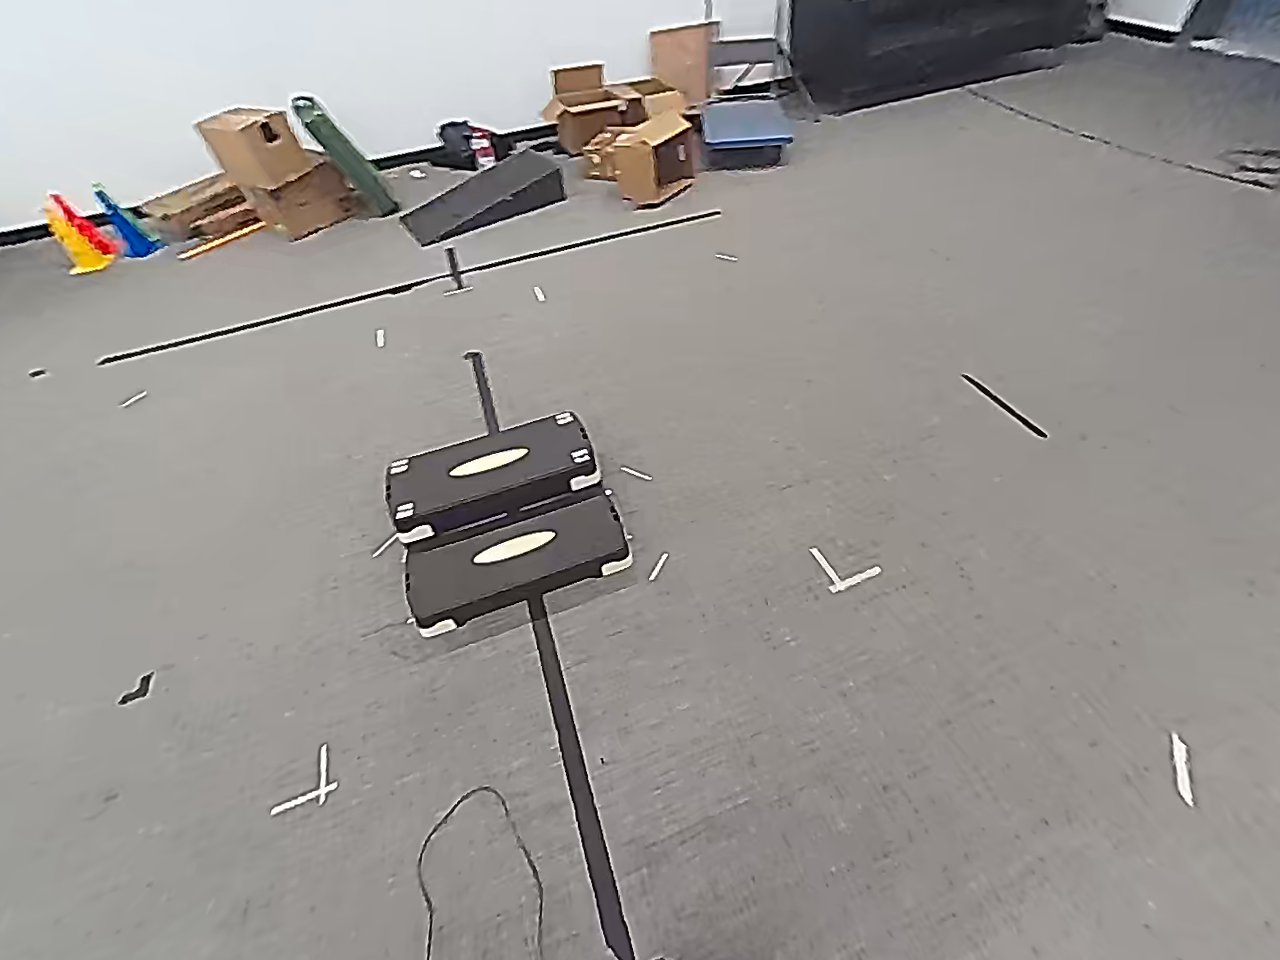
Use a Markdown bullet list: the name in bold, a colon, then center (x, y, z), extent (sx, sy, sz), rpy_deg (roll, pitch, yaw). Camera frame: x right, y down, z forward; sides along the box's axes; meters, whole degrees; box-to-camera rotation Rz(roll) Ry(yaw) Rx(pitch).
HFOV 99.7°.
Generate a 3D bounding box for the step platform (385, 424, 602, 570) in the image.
- **step platform**: center (-0.481, 0.045, 1.811), extent (0.684, 0.204, 0.286), rpy_deg (-18, 50, -11)
